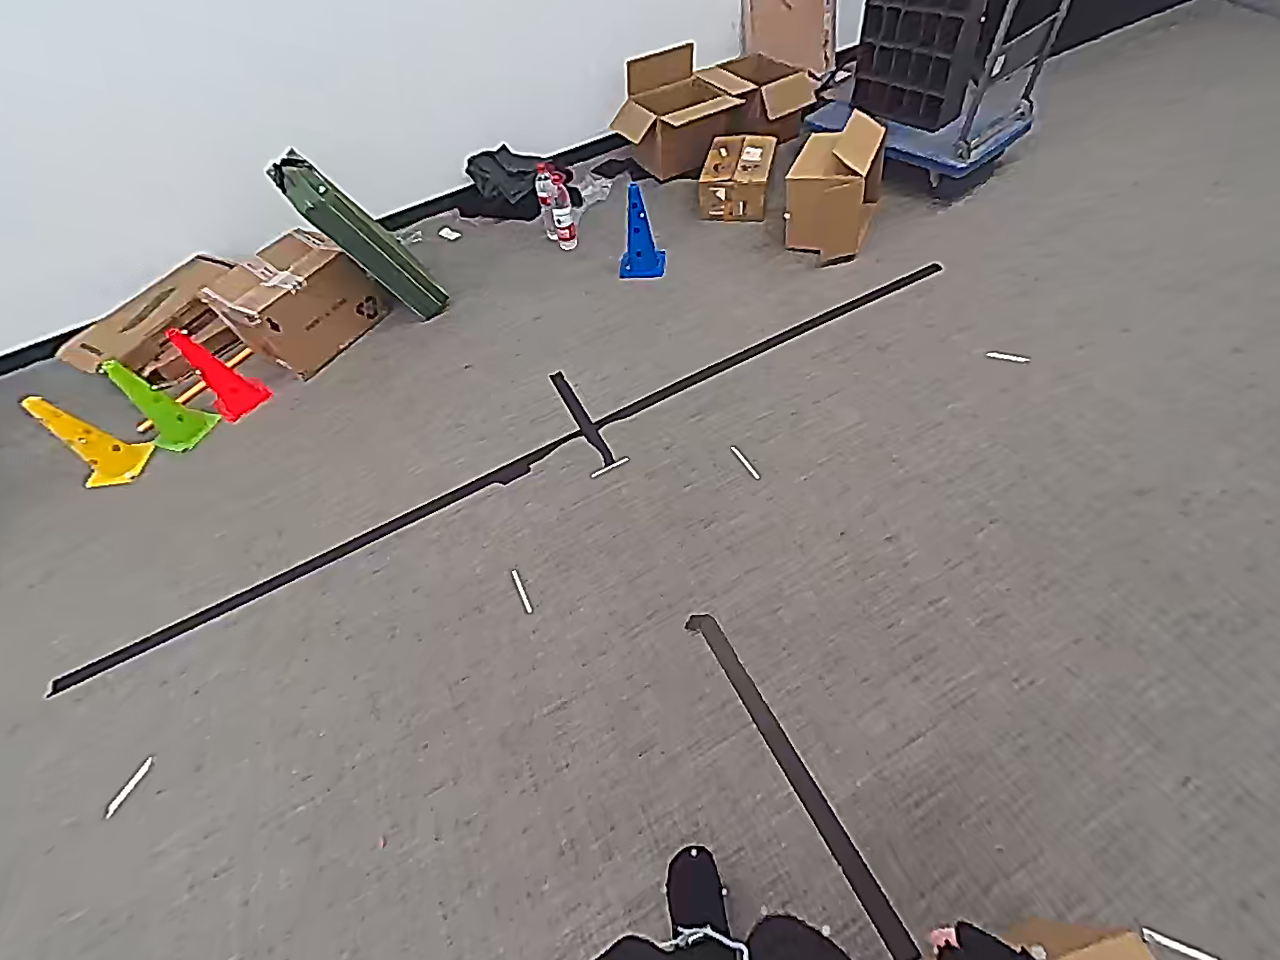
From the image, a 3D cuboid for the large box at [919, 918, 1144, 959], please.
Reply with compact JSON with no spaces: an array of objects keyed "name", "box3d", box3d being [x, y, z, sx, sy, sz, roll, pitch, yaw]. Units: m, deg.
[{"name":"large box","box3d":[0.588,0.925,0.821,0.408,0.320,0.320,-15,54,-5]}]
